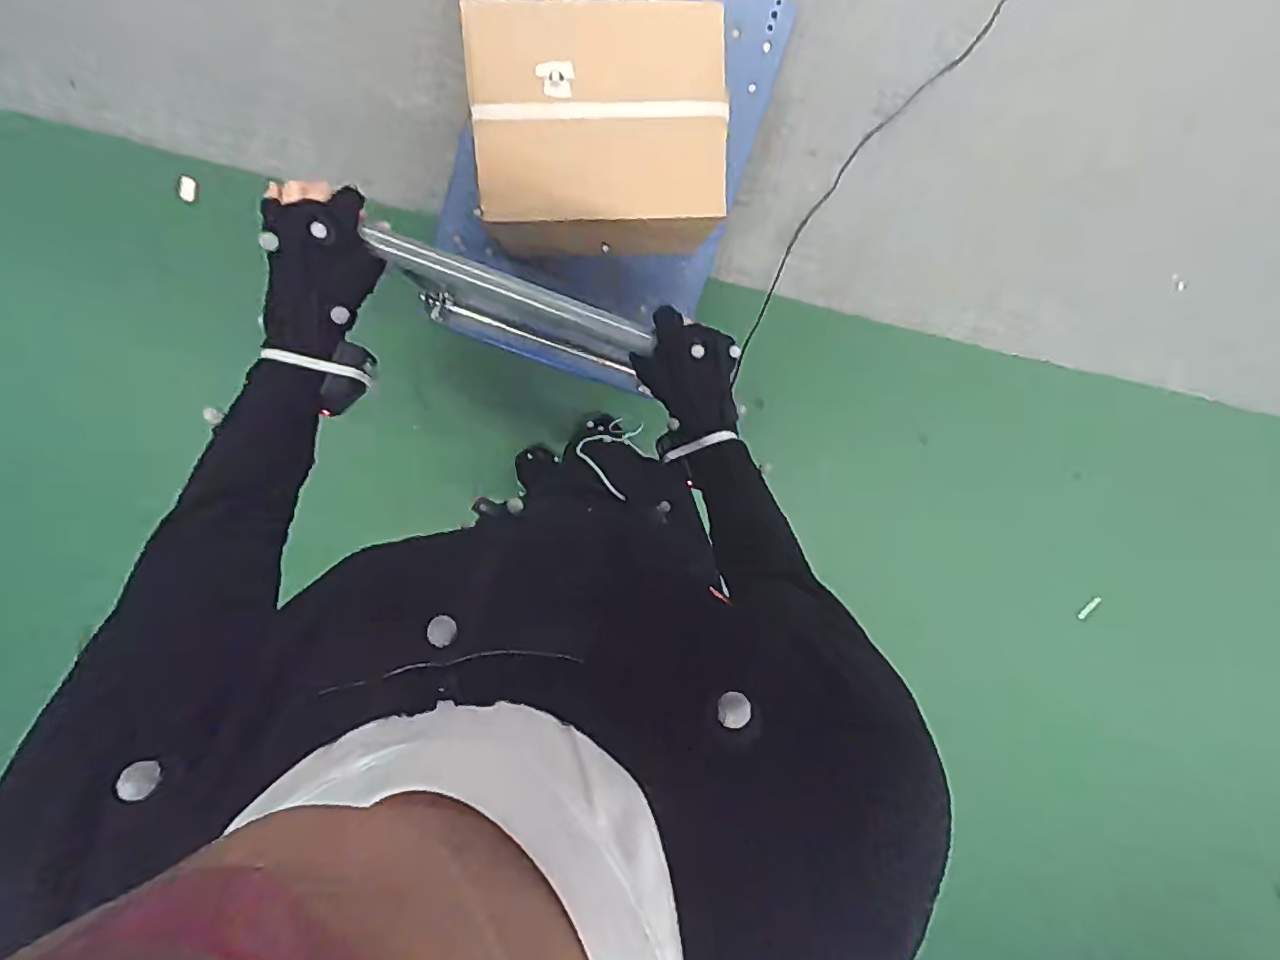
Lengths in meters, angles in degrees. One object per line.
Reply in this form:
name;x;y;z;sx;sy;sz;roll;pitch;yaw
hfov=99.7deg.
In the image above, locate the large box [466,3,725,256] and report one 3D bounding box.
large box;-0.070;-0.614;1.011;0.408;0.320;0.320;-3;102;-3
